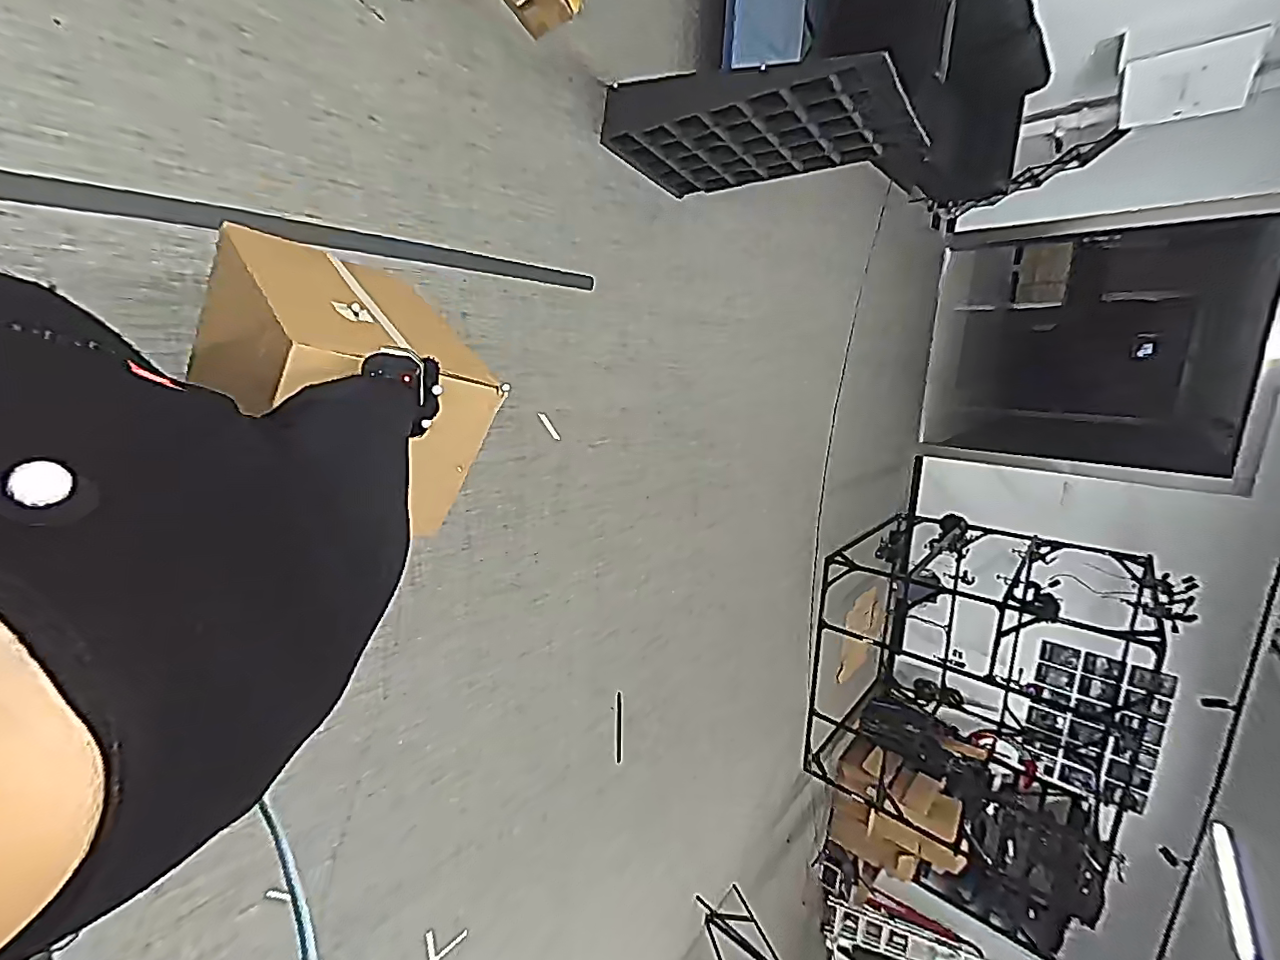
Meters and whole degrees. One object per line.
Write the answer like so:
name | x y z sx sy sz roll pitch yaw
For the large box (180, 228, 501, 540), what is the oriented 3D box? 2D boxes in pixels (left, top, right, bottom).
large box | -0.518 -0.147 0.917 0.320 0.408 0.320 5 124 -52
